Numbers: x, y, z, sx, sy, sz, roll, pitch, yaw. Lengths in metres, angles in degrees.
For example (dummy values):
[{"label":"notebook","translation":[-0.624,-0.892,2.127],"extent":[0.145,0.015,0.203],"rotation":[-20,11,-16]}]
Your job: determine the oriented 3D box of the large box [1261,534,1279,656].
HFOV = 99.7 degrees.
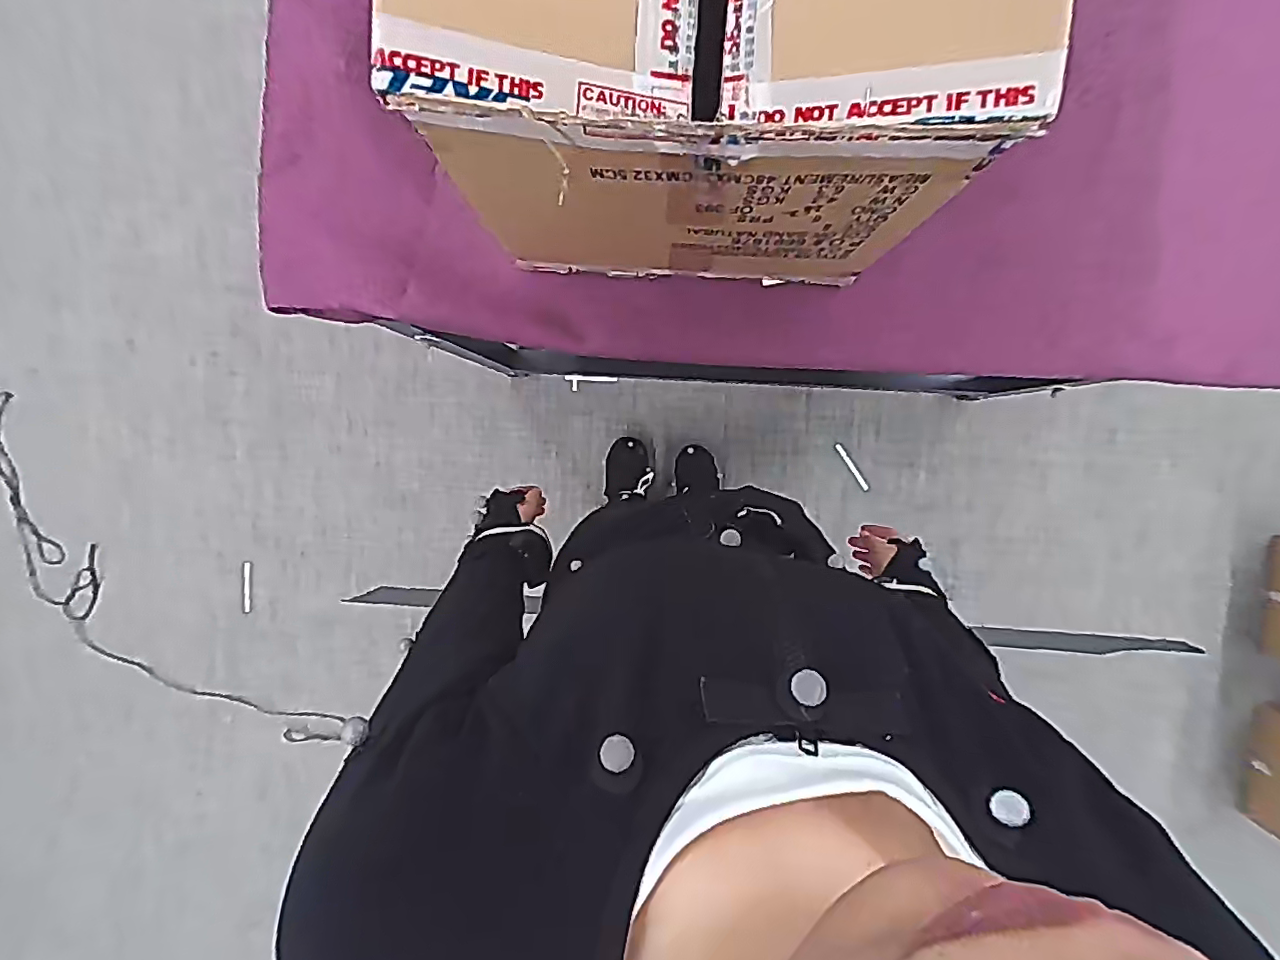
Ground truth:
[{"label":"large box","translation":[1.750,0.294,1.184],"extent":[0.408,0.320,0.320],"rotation":[2,94,3]}]
